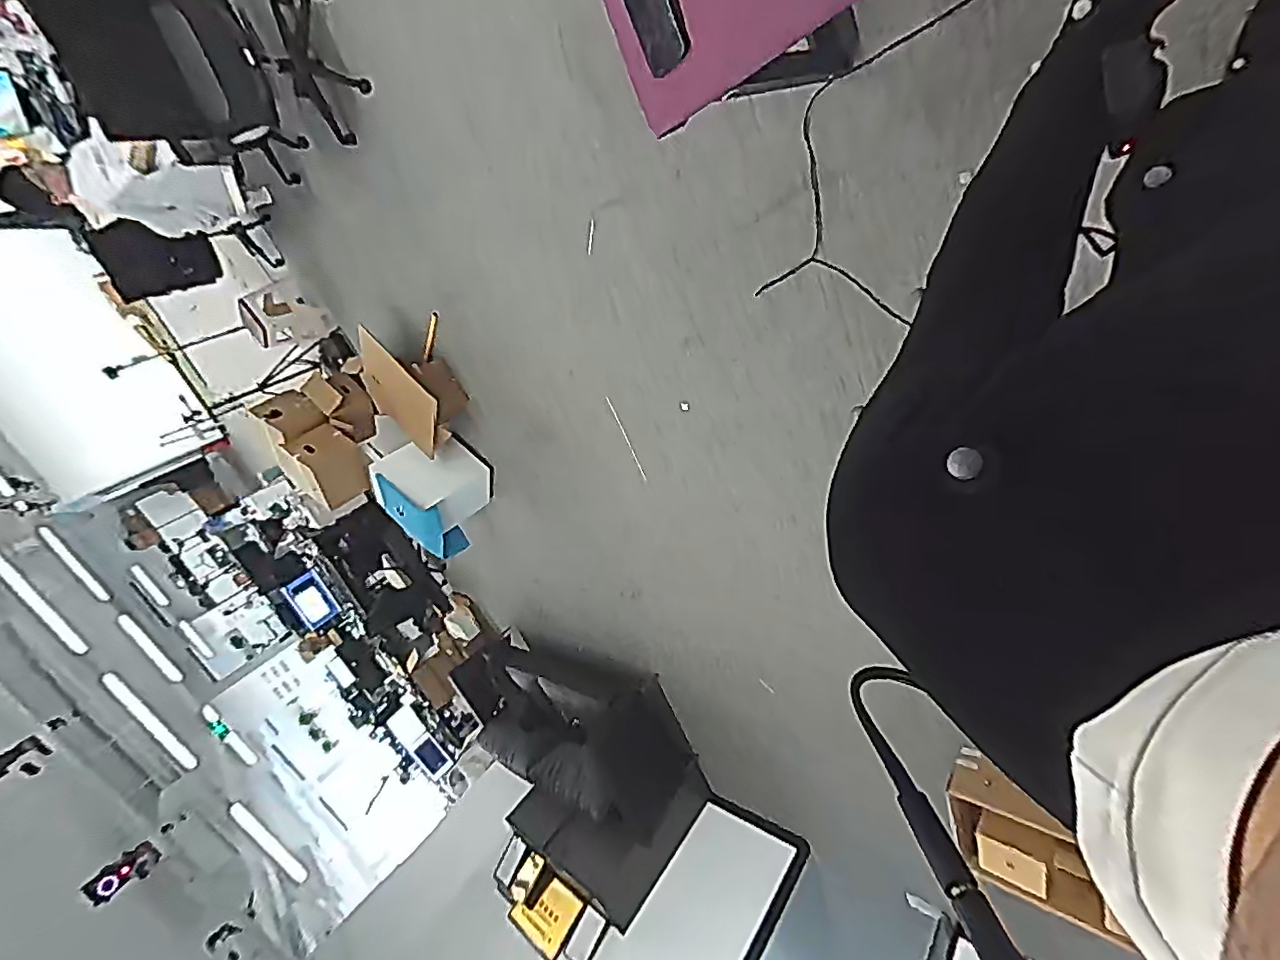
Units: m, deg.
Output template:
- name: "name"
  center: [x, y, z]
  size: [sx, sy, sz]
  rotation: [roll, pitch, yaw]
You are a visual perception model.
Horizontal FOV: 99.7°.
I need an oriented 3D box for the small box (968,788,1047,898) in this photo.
- name: "small box"
  center: [1.092, 1.069, 1.604]
  size: [0.168, 0.176, 0.179]
  rotation: [6, 123, 44]
